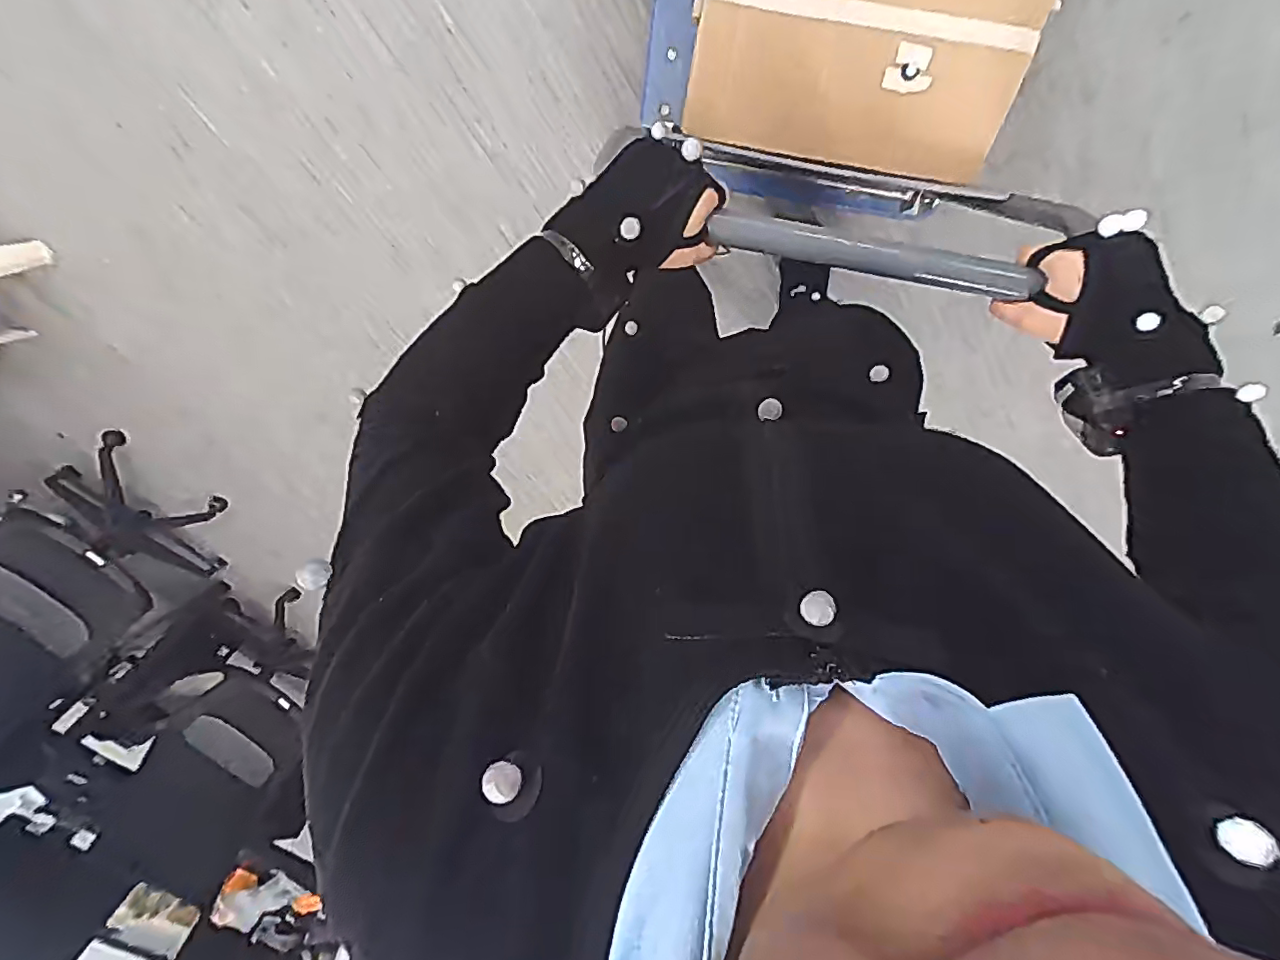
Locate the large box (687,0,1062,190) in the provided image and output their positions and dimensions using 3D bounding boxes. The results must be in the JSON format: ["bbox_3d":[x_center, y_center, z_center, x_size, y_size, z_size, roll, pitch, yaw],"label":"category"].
[{"bbox_3d":[0.291,-0.627,0.762,0.408,0.320,0.320,11,126,0],"label":"large box"}]
